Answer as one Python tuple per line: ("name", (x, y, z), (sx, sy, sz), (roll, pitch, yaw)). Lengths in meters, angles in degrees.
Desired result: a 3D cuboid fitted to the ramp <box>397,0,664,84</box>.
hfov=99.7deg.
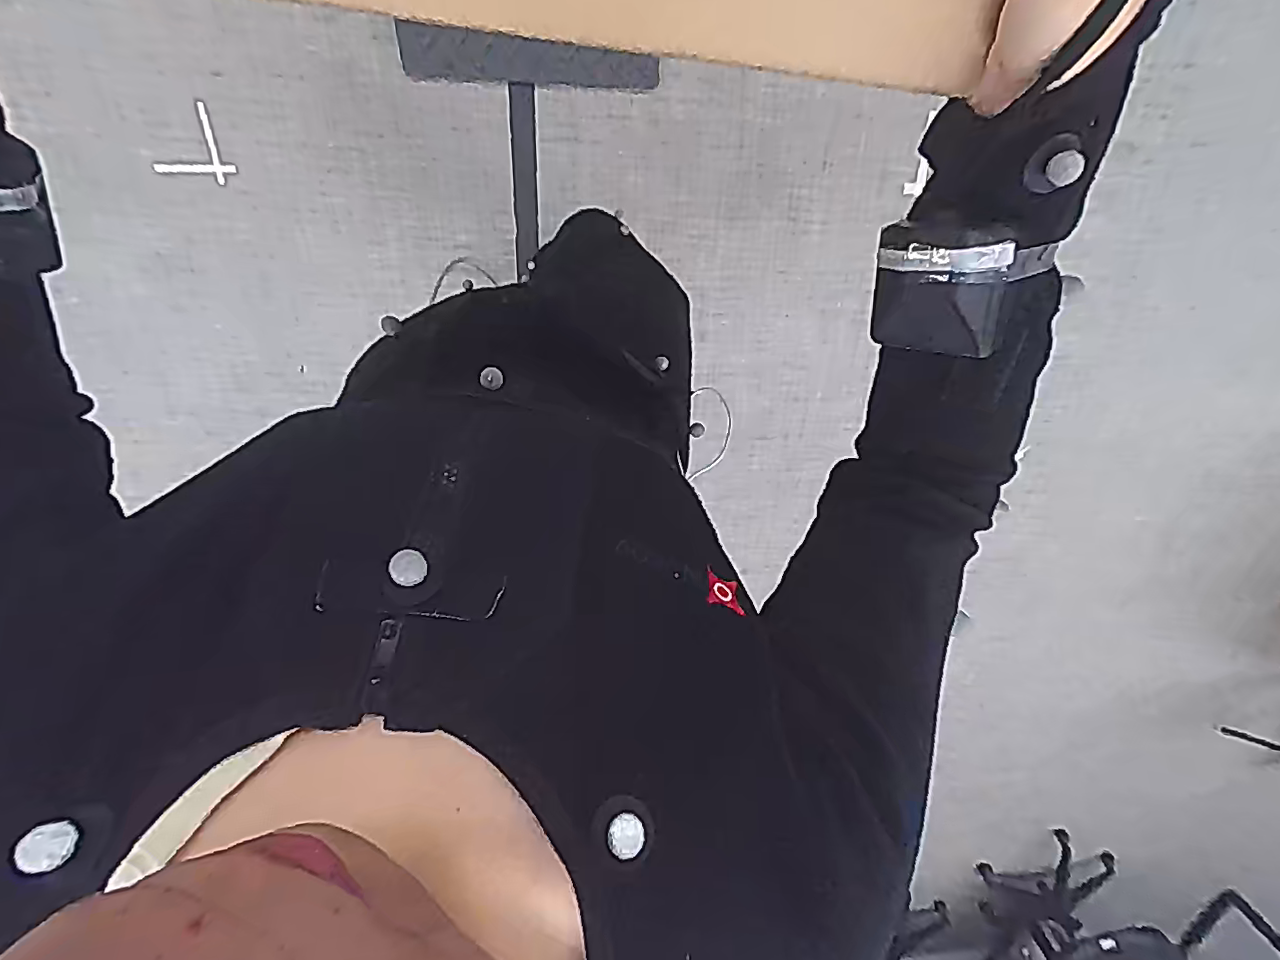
("ramp", (-0.176, -1.183, 0.757), (0.509, 0.206, 0.991), (-2, 117, -5))
